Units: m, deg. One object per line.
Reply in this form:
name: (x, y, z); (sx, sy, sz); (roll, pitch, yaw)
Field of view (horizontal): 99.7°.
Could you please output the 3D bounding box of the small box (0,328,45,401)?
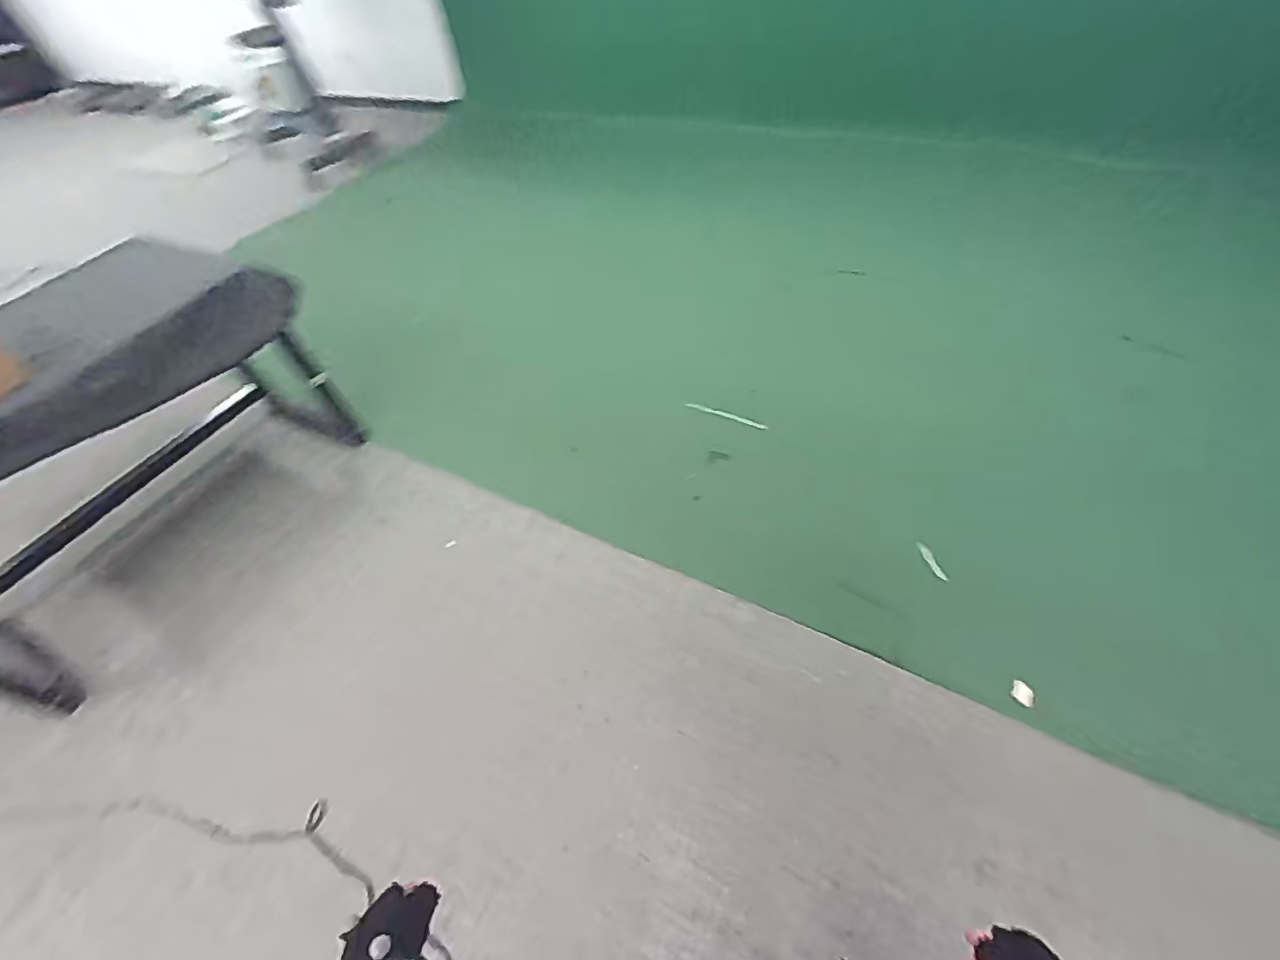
small box: (-1.558, -0.283, 1.255); (0.168, 0.176, 0.179); (22, 58, 27)
